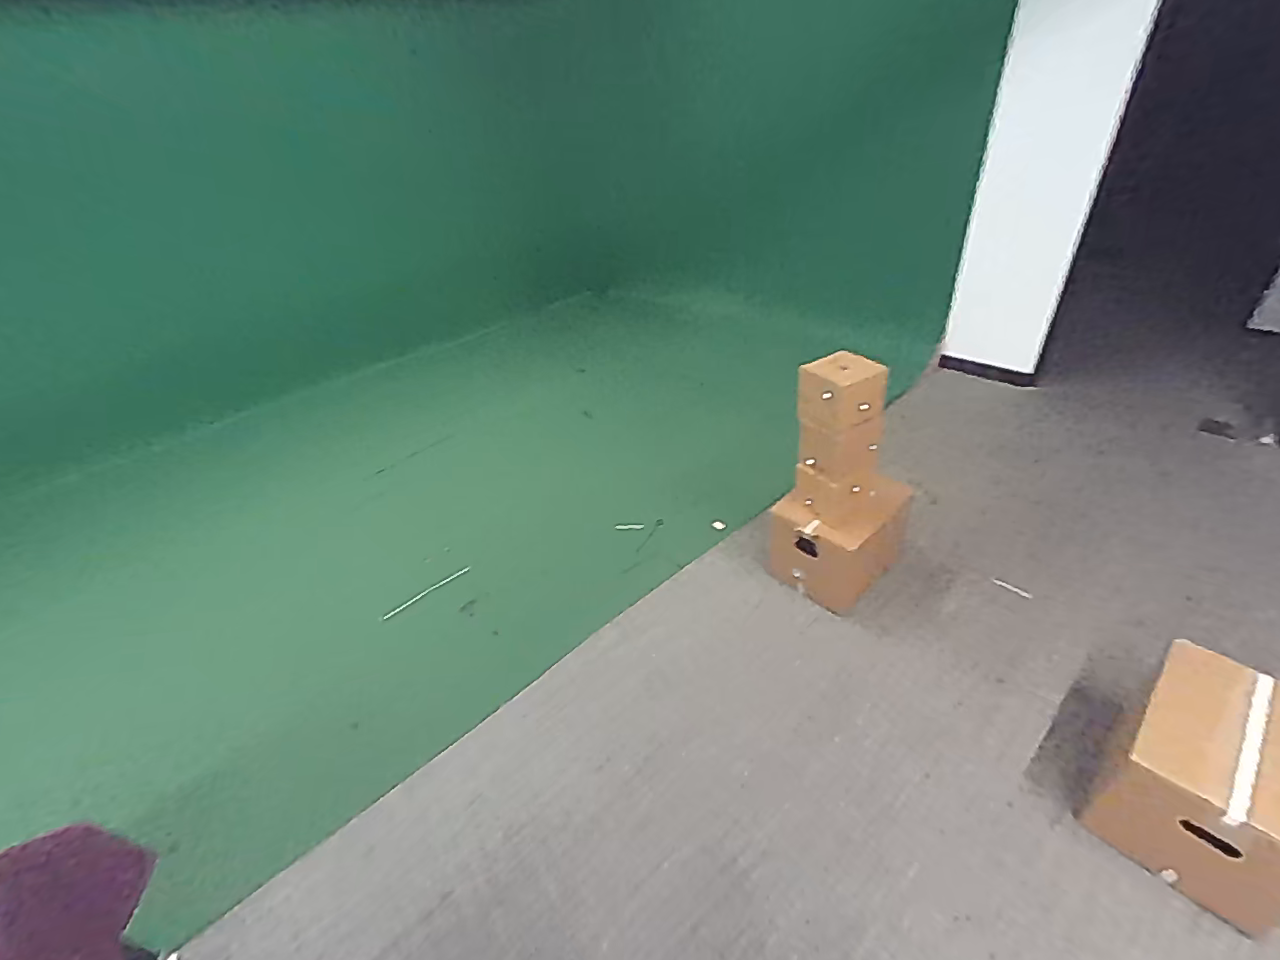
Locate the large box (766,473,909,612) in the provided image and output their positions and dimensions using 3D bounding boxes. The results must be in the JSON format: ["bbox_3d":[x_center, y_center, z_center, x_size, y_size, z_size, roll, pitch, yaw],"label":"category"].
[{"bbox_3d":[0.689,0.187,1.921,0.408,0.320,0.320,-32,43,-30],"label":"large box"}]

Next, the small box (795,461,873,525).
[{"bbox_3d":[0.620,0.015,1.756,0.179,0.176,0.168,-25,39,-21],"label":"small box"}]

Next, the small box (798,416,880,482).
[{"bbox_3d":[0.606,-0.121,1.667,0.179,0.176,0.168,-23,38,-18],"label":"small box"}]

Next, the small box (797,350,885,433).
[{"bbox_3d":[0.577,-0.254,1.575,0.168,0.176,0.179,-22,38,-18],"label":"small box"}]
